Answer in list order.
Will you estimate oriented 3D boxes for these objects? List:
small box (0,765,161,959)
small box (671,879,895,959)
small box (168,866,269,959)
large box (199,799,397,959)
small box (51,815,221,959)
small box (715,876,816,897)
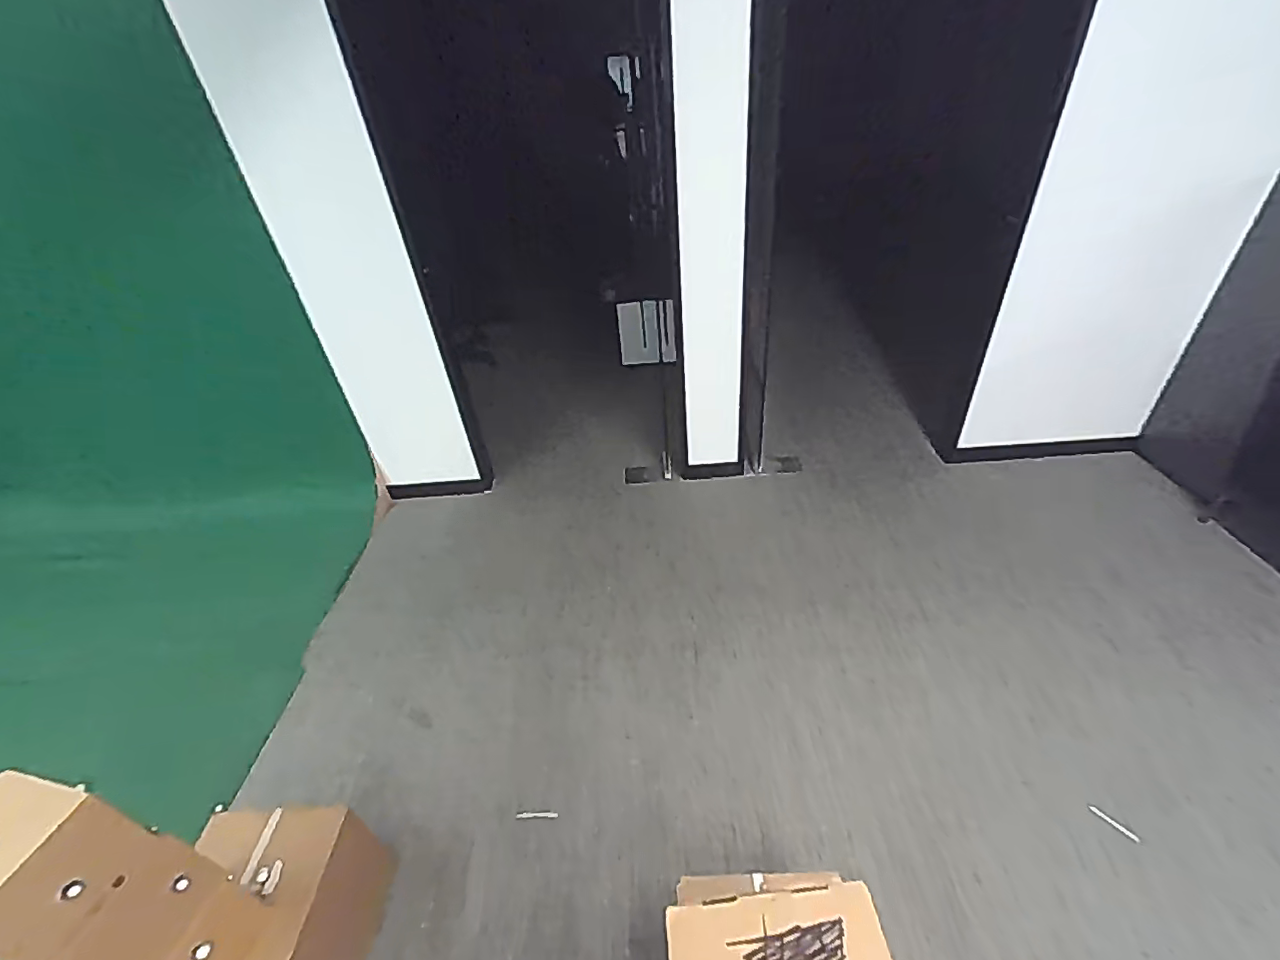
[{"bbox_3d":[-0.842,0.534,0.754,0.179,0.176,0.168,4,38,15],"label":"small box"},{"bbox_3d":[0.120,0.447,0.419,0.168,0.176,0.179,-9,39,2],"label":"small box"},{"bbox_3d":[-0.798,0.796,0.945,0.168,0.176,0.179,2,38,11],"label":"small box"},{"bbox_3d":[-0.771,0.958,1.131,0.320,0.320,0.408,-4,36,2],"label":"large box"},{"bbox_3d":[-0.818,0.662,0.855,0.168,0.176,0.179,3,39,14],"label":"small box"},{"bbox_3d":[0.177,0.663,0.711,0.168,0.176,0.179,-10,38,-4],"label":"small box"}]
